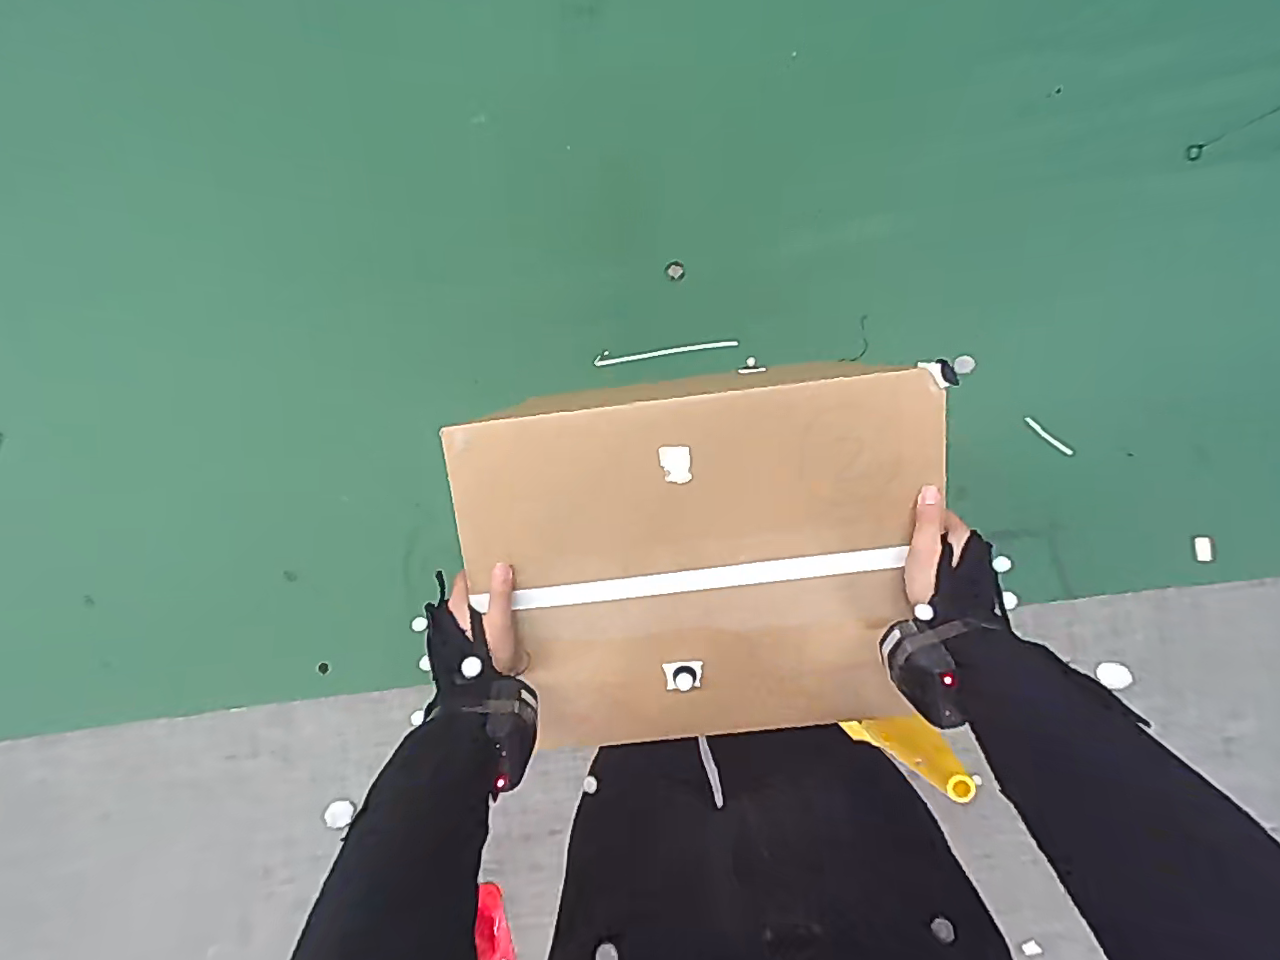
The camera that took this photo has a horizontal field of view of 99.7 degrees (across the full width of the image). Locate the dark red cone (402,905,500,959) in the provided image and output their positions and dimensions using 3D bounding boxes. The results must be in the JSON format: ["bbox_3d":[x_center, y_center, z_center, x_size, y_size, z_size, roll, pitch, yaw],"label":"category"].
[{"bbox_3d":[-0.400,0.982,0.958,0.202,0.394,0.201,-16,83,4],"label":"dark red cone"}]
